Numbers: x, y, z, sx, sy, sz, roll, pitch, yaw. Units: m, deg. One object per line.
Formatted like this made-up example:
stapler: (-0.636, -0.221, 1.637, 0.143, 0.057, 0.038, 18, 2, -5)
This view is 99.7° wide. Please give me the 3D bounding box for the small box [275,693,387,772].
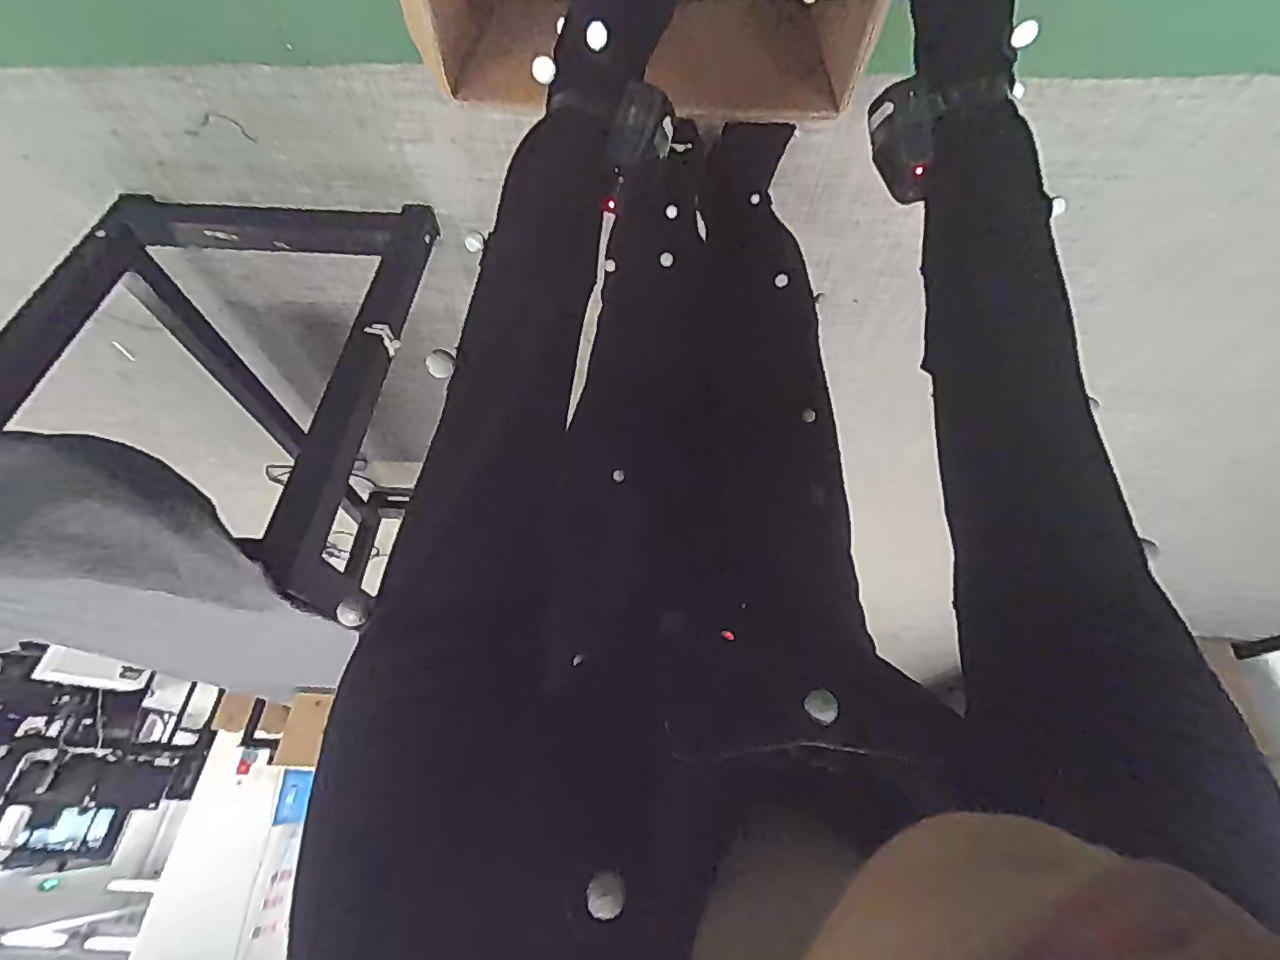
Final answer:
small box: (-0.769, 0.640, 1.365, 0.168, 0.176, 0.179, 1, 150, 2)
